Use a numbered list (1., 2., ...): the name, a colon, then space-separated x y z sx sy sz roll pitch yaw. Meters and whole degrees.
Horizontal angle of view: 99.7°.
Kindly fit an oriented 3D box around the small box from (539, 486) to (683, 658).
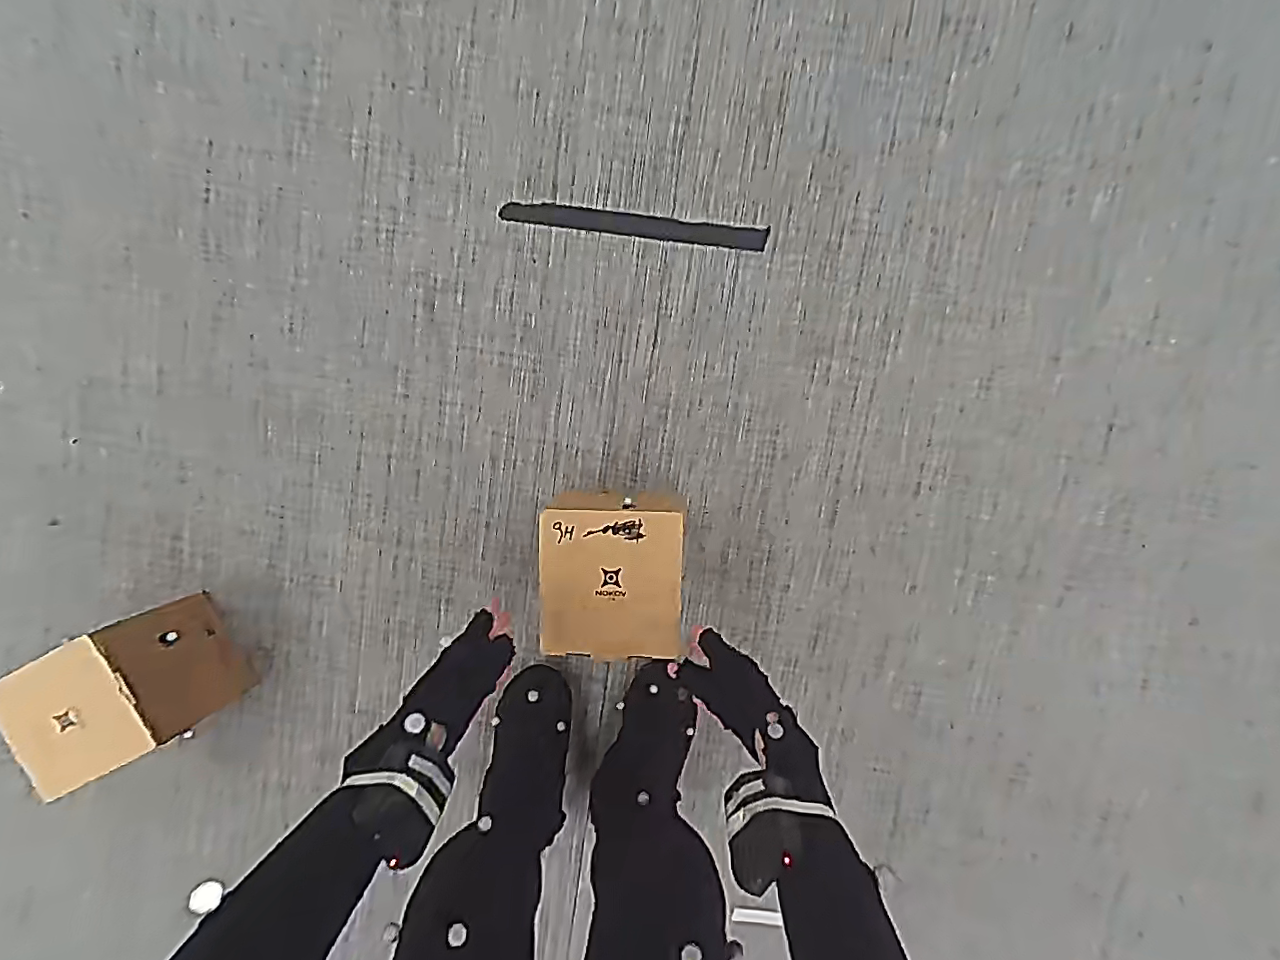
1. small box: -0.031 0.107 0.695 0.168 0.176 0.179 1 96 2

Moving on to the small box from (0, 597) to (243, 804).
1. small box: -0.693 0.284 0.737 0.179 0.176 0.168 -28 93 5
